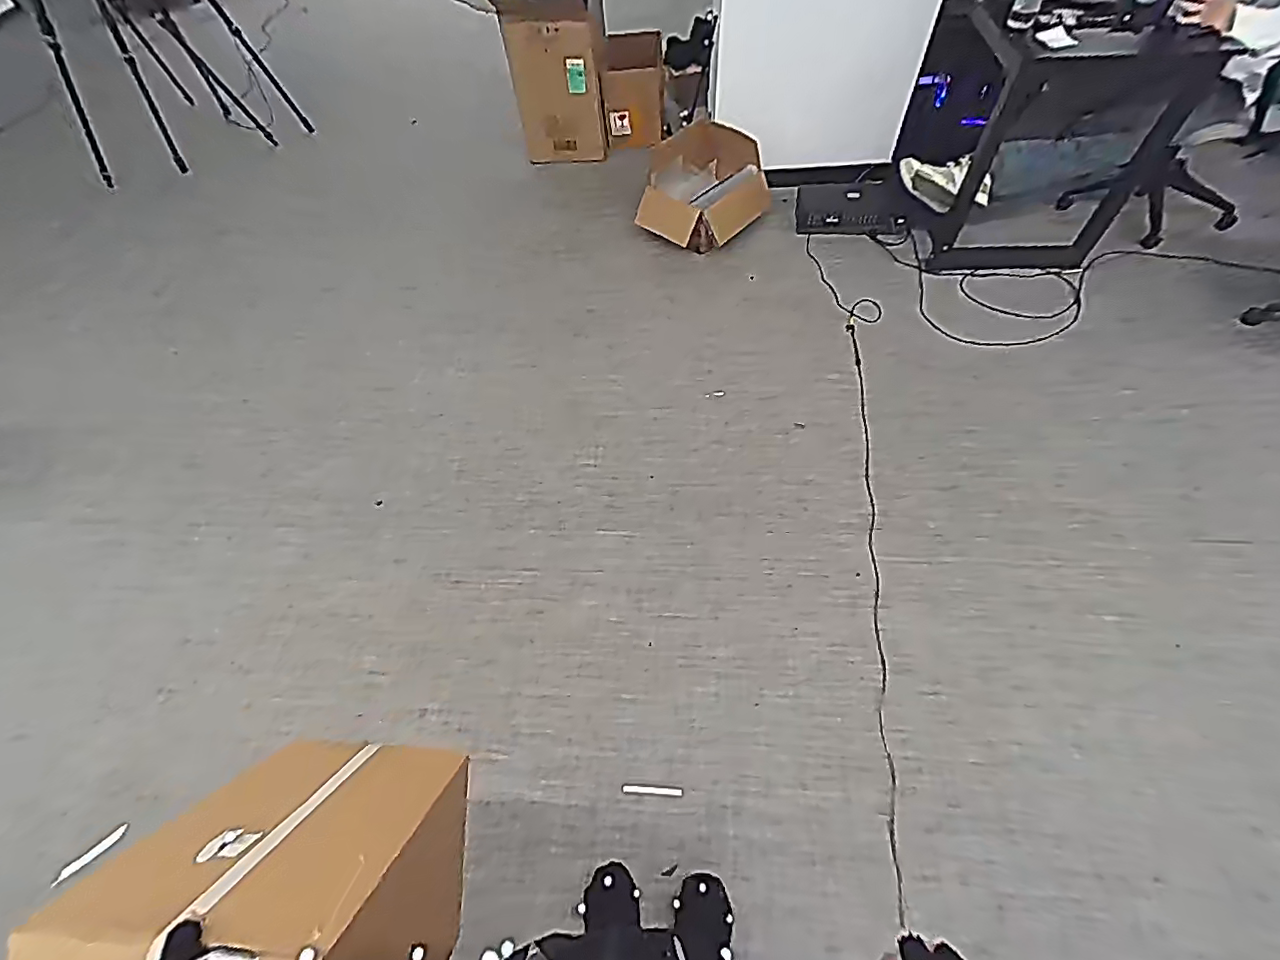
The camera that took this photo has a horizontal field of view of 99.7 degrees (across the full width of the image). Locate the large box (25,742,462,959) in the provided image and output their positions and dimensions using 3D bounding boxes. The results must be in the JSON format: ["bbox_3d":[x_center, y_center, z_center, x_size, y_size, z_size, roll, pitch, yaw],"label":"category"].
[{"bbox_3d":[-0.466,0.613,0.729,0.320,0.408,0.320,2,91,3],"label":"large box"}]
